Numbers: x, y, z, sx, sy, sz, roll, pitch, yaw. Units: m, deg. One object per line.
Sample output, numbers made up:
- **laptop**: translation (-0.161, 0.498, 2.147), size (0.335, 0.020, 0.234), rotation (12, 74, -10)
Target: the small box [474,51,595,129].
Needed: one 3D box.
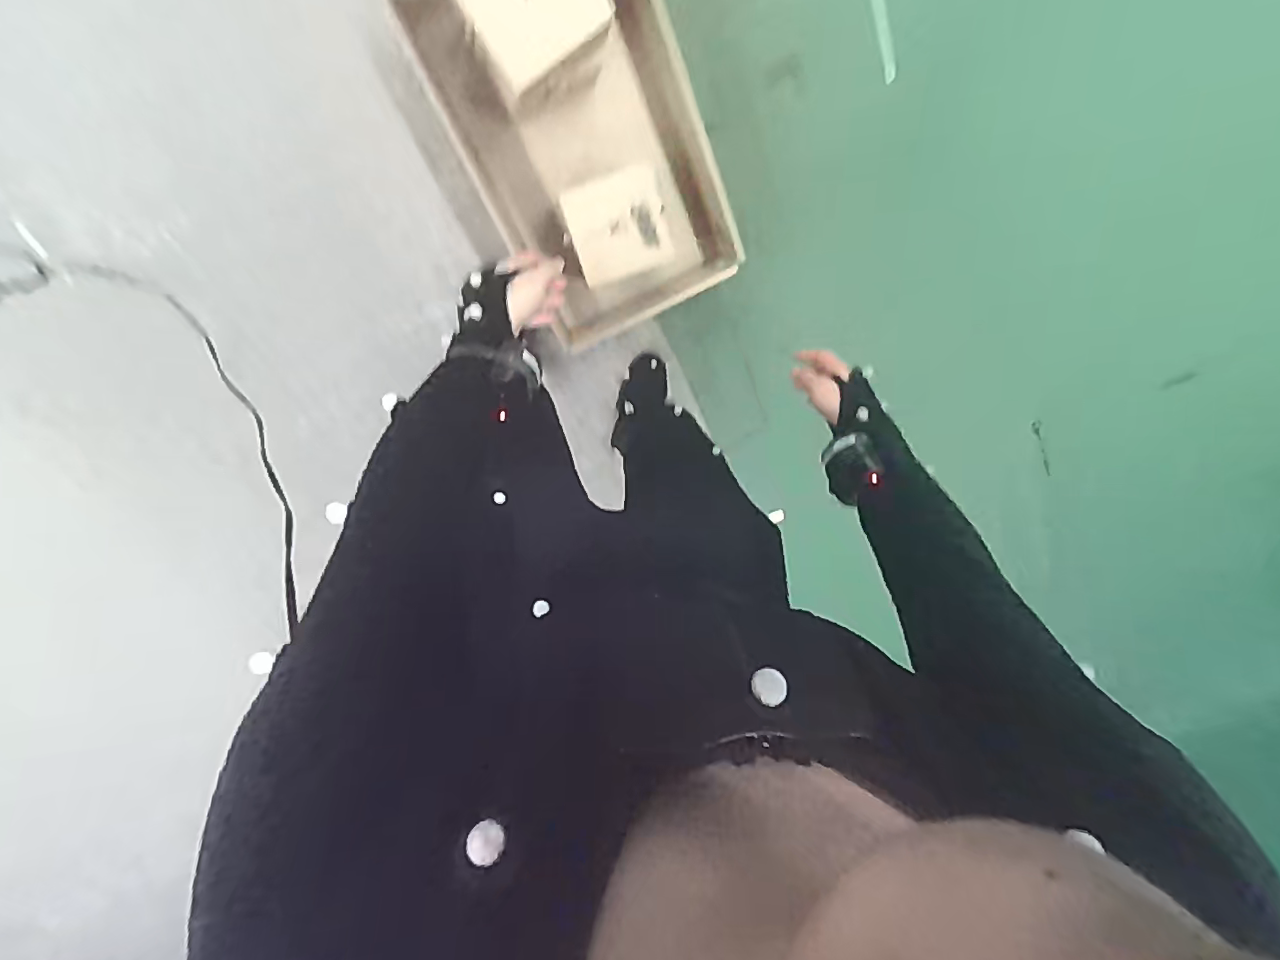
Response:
- **small box**: translation (-0.189, -0.722, 0.899), size (0.168, 0.176, 0.179), rotation (-24, 117, 3)

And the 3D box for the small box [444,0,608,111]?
- **small box**: translation (-0.166, -0.655, 0.751), size (0.168, 0.176, 0.179), rotation (-33, 119, 8)

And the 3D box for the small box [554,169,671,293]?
- **small box**: translation (-0.058, -0.478, 1.040), size (0.179, 0.176, 0.168), rotation (-19, 116, 1)
